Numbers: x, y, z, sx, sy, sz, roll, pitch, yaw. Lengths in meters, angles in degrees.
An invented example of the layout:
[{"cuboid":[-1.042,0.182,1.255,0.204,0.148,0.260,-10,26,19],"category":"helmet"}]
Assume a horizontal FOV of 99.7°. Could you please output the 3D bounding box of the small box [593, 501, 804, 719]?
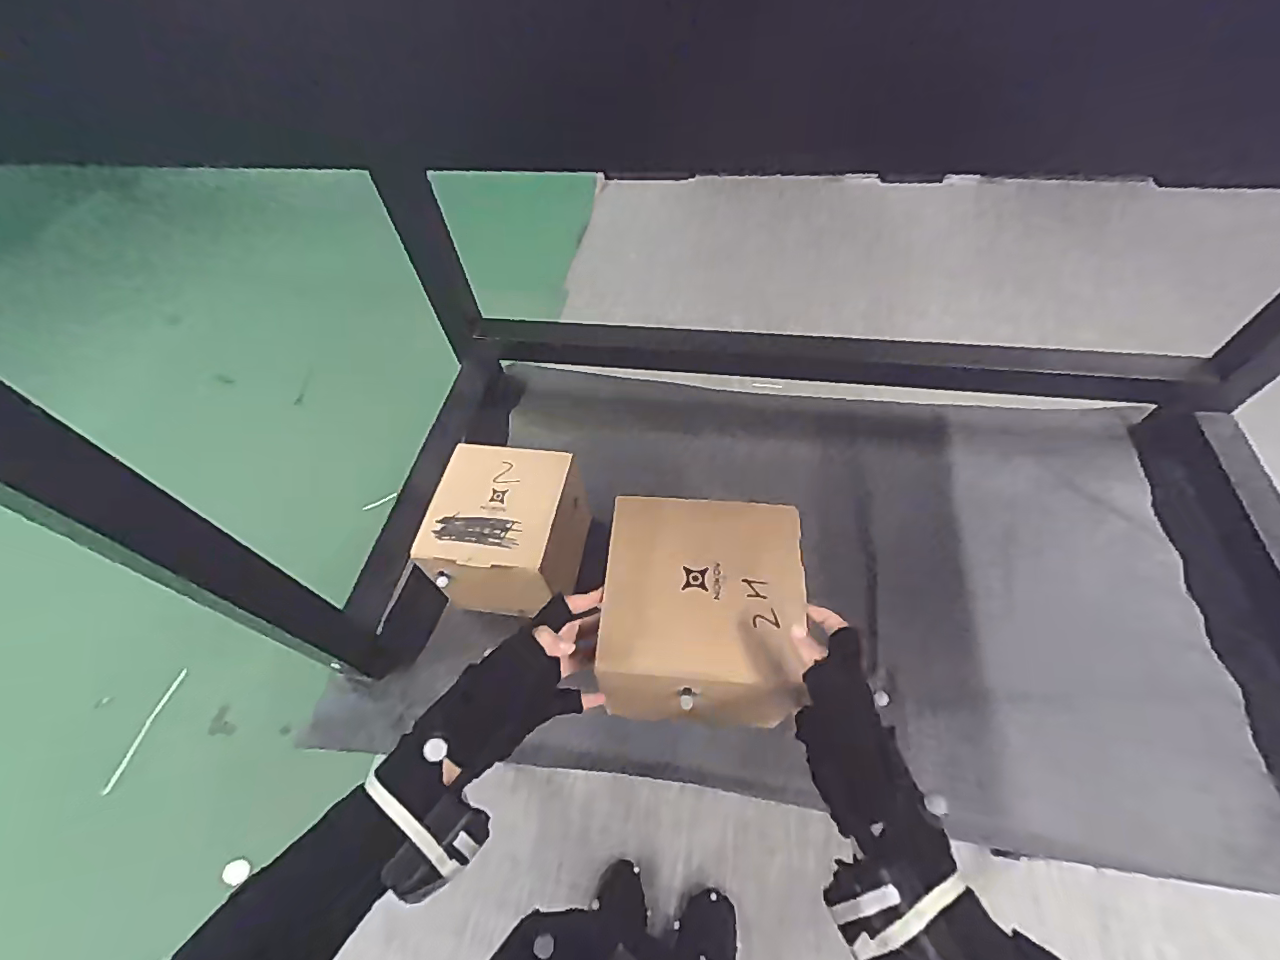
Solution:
[{"cuboid":[0.056,0.137,0.550,0.179,0.176,0.168,4,57,3],"category":"small box"}]
